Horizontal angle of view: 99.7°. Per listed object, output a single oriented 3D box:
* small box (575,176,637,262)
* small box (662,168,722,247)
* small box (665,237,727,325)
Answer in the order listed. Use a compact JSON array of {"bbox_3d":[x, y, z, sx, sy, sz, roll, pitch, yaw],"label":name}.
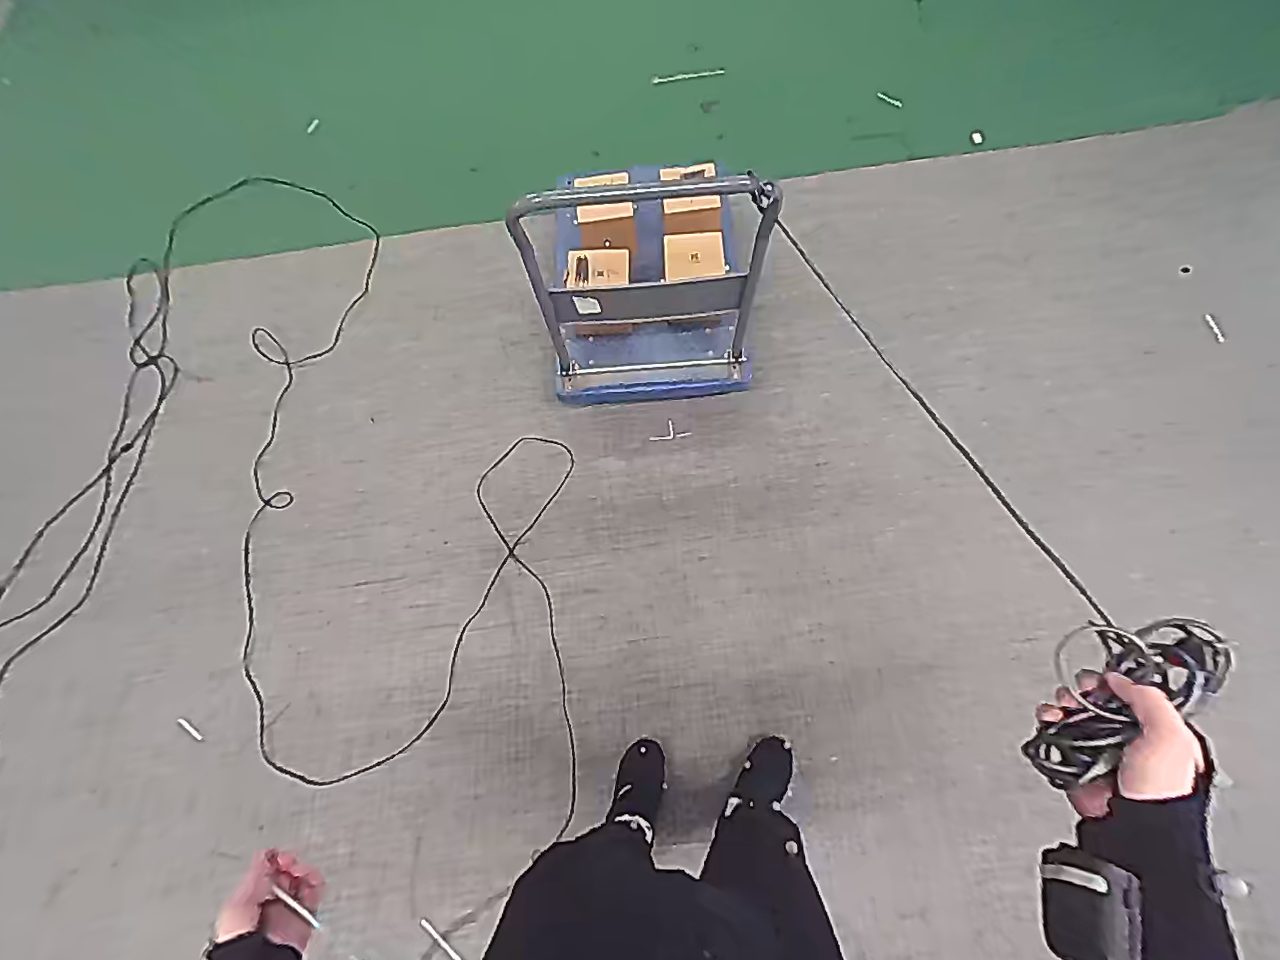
[{"bbox_3d":[-0.102,-0.795,1.667,0.168,0.176,0.179,-7,69,0],"label":"small box"},{"bbox_3d":[0.154,-0.818,1.659,0.168,0.176,0.179,-5,70,2],"label":"small box"},{"bbox_3d":[0.157,-0.574,1.569,0.168,0.176,0.179,-3,69,3],"label":"small box"}]
